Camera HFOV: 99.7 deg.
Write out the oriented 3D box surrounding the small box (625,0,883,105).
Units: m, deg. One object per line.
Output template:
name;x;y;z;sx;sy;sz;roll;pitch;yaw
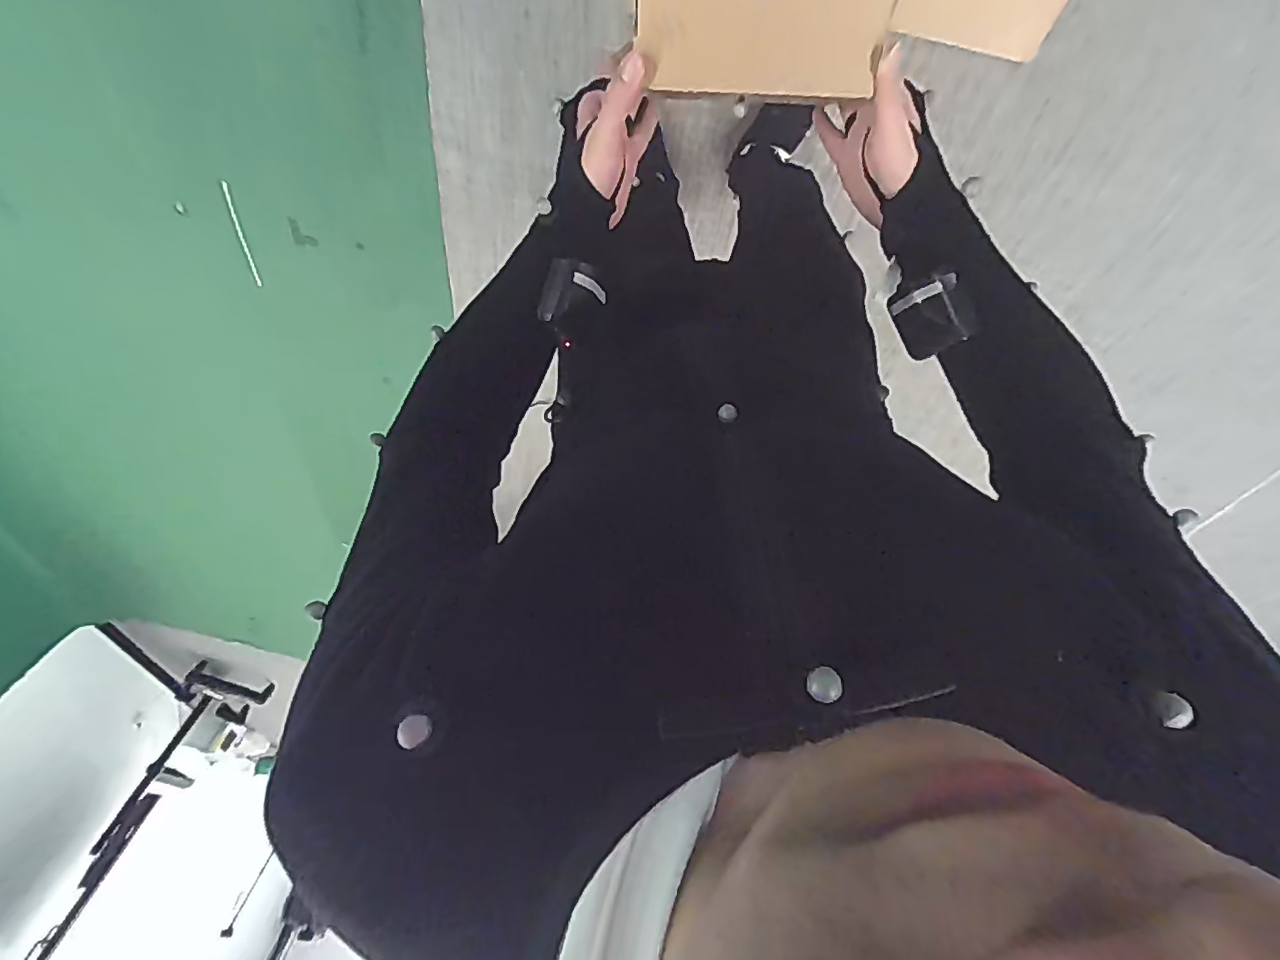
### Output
small box;0.089;-0.398;0.420;0.179;0.176;0.168;6;124;4
